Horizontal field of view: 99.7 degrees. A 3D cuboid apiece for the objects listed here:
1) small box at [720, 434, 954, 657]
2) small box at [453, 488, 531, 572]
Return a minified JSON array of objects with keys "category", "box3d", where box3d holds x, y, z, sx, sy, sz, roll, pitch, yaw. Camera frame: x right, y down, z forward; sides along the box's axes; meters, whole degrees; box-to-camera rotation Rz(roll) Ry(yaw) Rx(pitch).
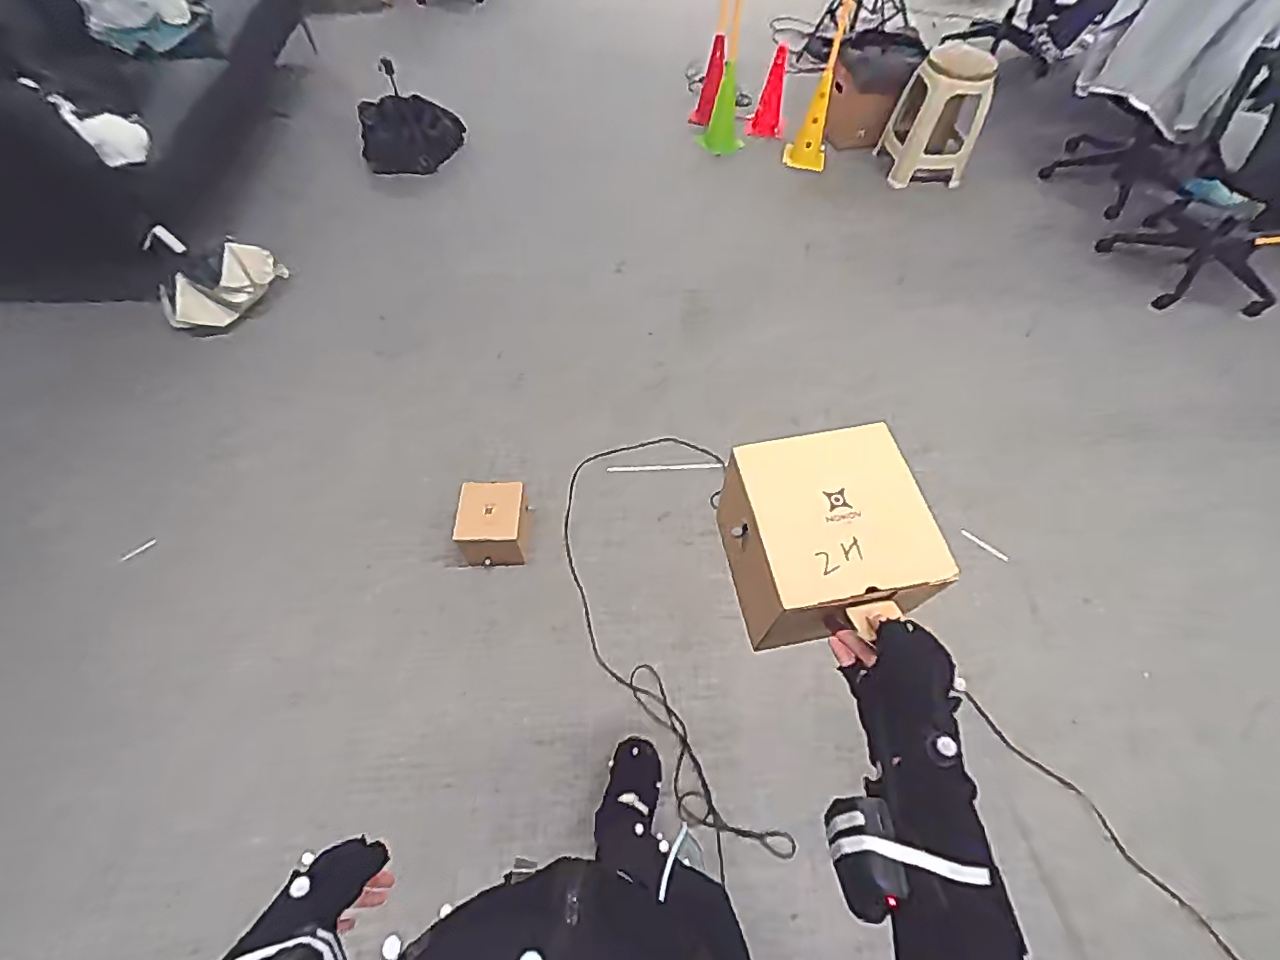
[{"category":"small box","box3d":[0.191,0.076,0.591,0.168,0.176,0.179,-10,61,-4]},{"category":"small box","box3d":[-0.398,0.139,1.488,0.168,0.176,0.179,0,59,-1]}]
